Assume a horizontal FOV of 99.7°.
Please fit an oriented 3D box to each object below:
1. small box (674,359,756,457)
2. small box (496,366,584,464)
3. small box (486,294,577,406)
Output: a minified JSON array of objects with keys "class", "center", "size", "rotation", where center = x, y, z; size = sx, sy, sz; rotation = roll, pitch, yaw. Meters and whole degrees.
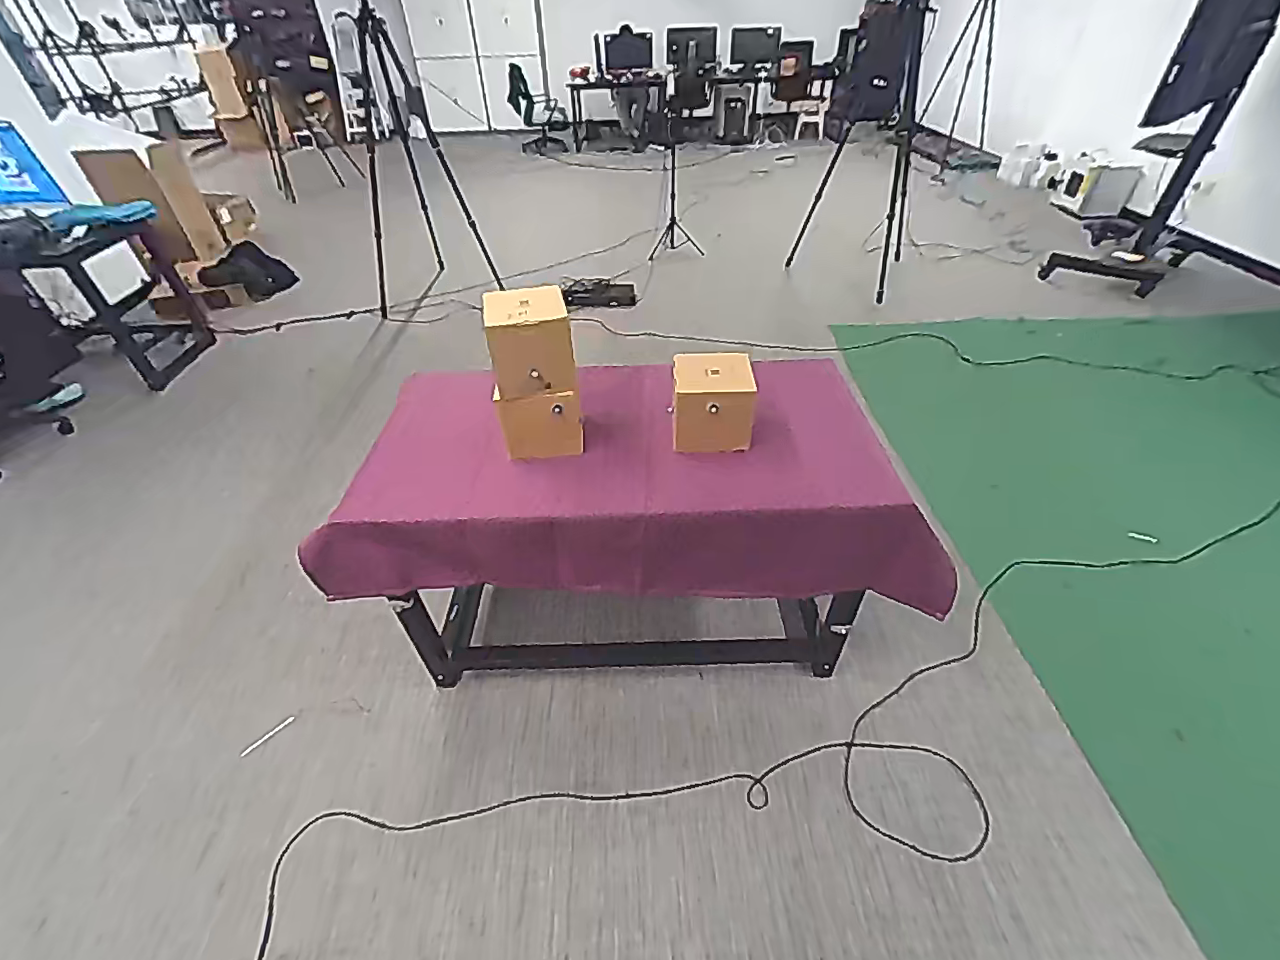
[{"class":"small box","center":[0.168,-0.166,1.264],"size":[0.179,0.176,0.168],"rotation":[0,42,2]},{"class":"small box","center":[-0.228,-0.150,1.271],"size":[0.179,0.176,0.168],"rotation":[-4,41,-3]},{"class":"small box","center":[-0.234,-0.282,1.171],"size":[0.168,0.176,0.179],"rotation":[-10,42,-9]}]
